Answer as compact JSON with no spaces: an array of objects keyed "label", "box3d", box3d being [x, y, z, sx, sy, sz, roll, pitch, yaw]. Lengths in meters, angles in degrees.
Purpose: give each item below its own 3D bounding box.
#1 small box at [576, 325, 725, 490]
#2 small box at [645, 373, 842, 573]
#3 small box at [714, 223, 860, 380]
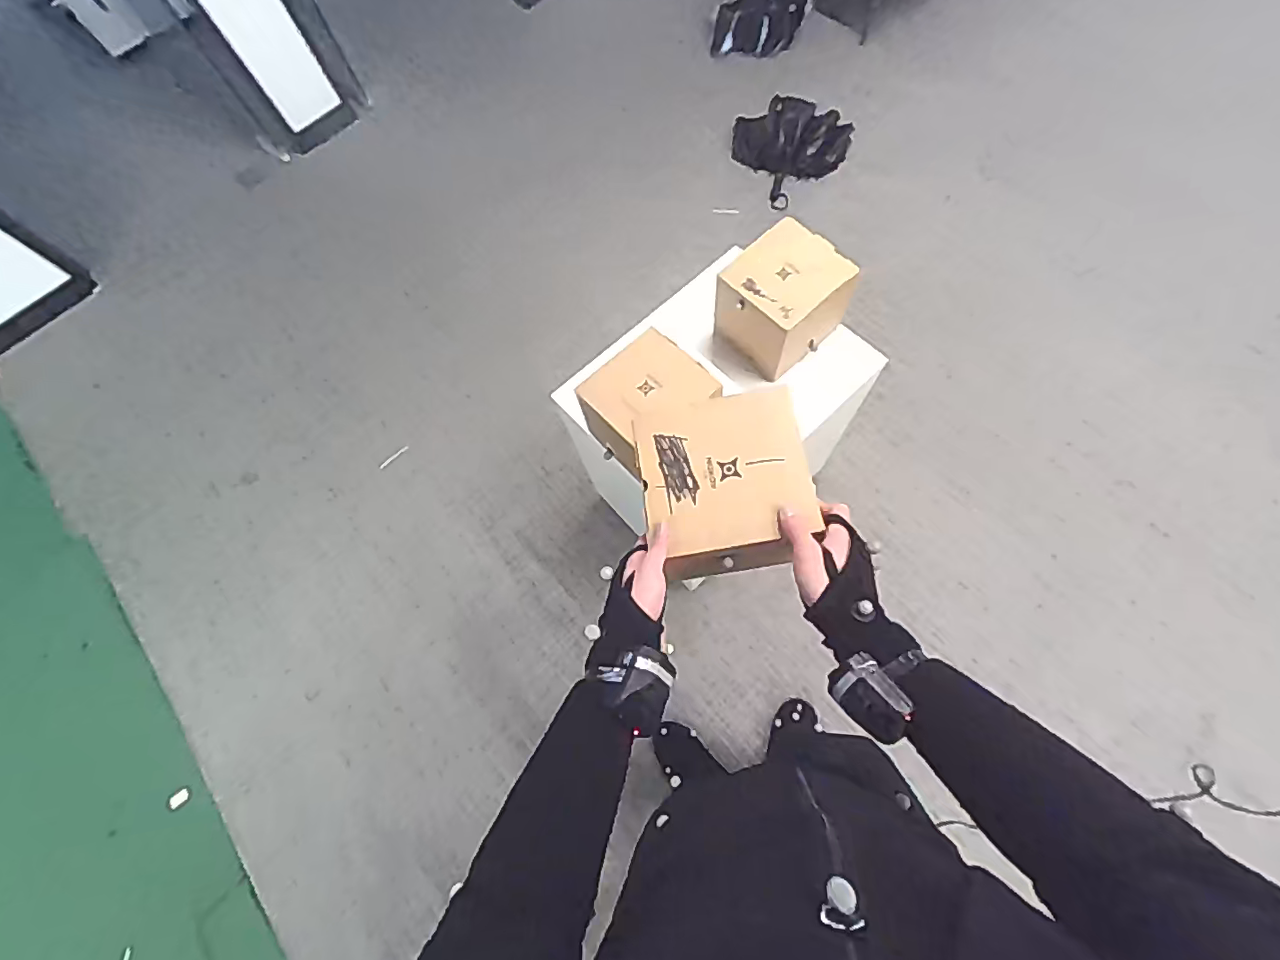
[{"label":"small box","box3d":[0.018,-0.115,0.906,0.179,0.176,0.168,-42,71,-13]},{"label":"small box","box3d":[0.113,0.004,0.622,0.179,0.176,0.168,-10,70,6]},{"label":"small box","box3d":[0.251,-0.312,0.974,0.179,0.176,0.168,-39,72,-12]}]
